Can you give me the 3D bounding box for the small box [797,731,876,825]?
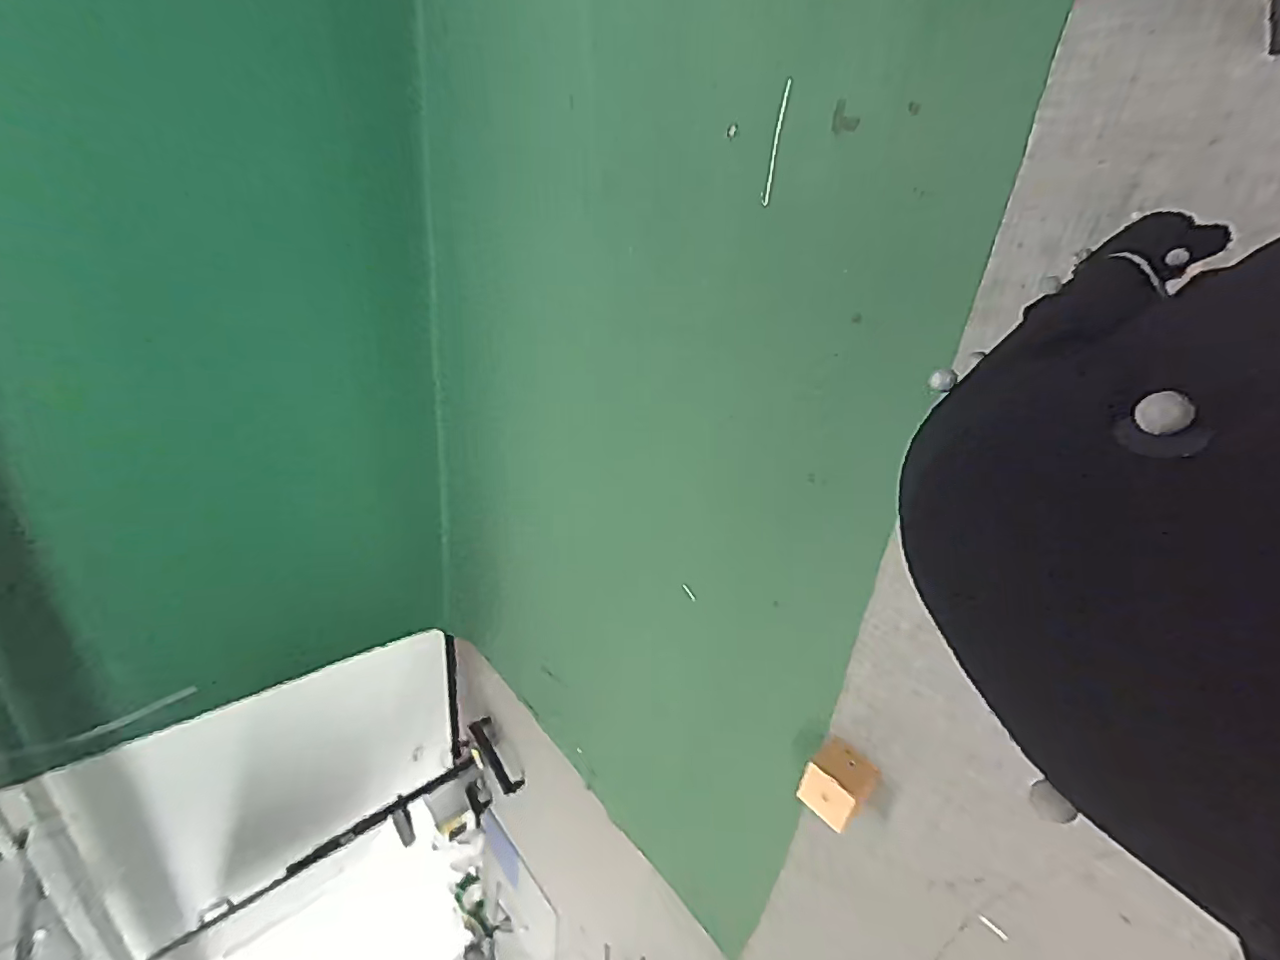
[{"bbox_3d":[0.654,0.982,1.792,0.168,0.176,0.179,30,122,39],"label":"small box"}]
